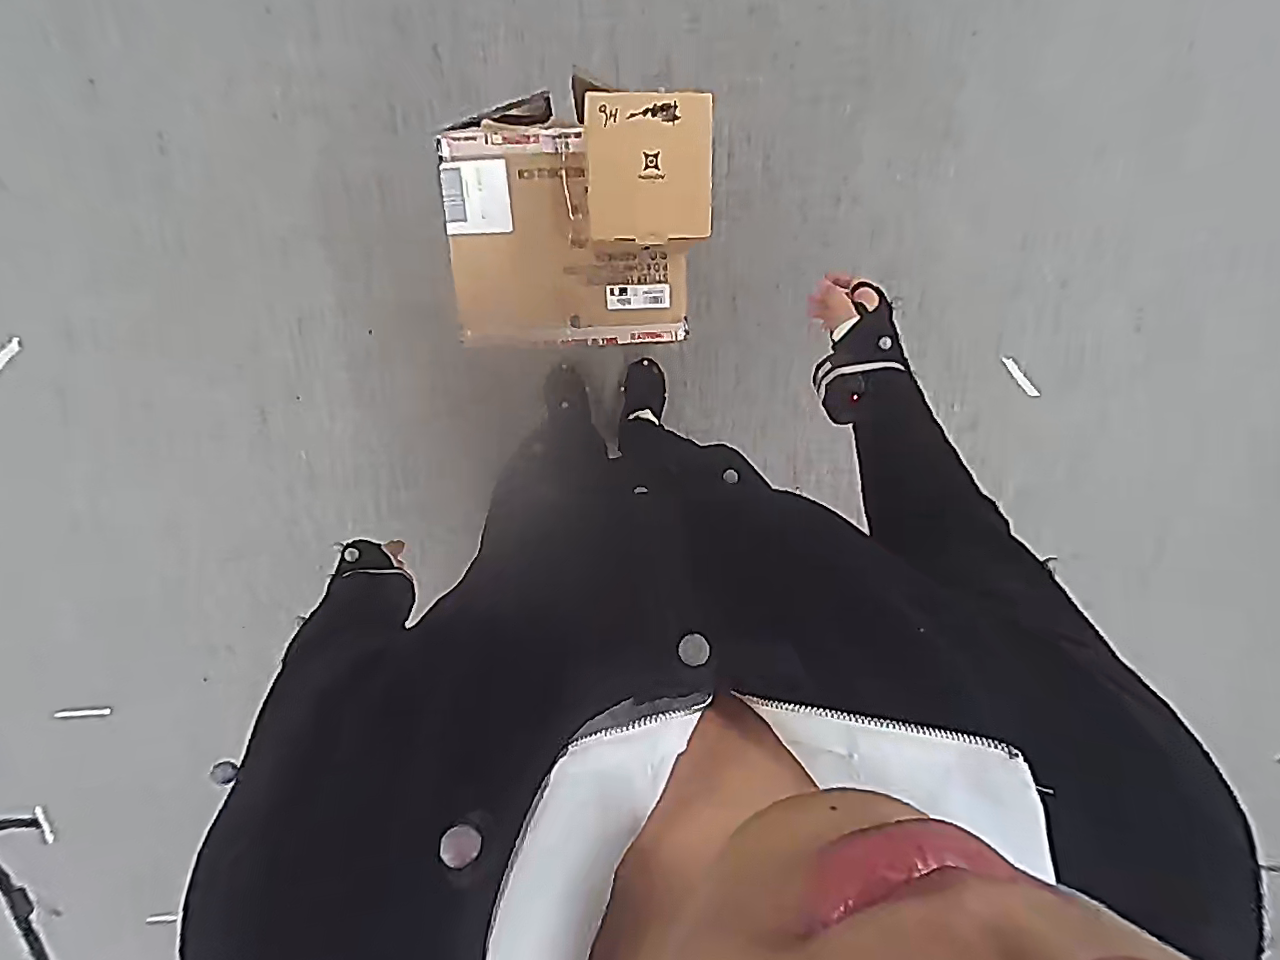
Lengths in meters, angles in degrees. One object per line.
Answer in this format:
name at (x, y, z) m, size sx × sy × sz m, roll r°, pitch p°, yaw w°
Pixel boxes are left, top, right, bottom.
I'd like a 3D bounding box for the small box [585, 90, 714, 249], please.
small box at (0.008, -0.434, 0.783) m, size 0.168 × 0.176 × 0.179 m, roll -3°, pitch 108°, yaw -5°
